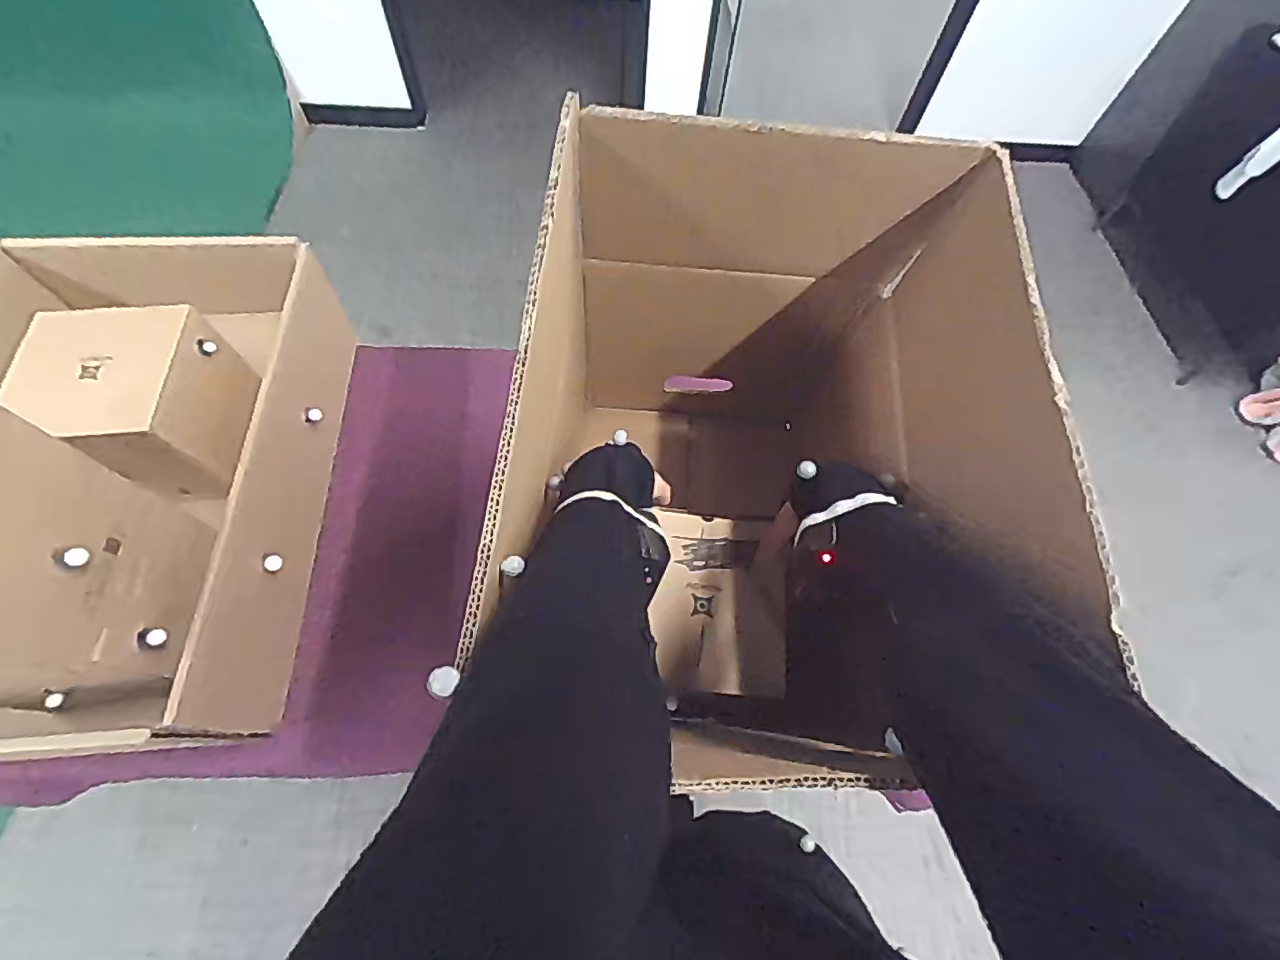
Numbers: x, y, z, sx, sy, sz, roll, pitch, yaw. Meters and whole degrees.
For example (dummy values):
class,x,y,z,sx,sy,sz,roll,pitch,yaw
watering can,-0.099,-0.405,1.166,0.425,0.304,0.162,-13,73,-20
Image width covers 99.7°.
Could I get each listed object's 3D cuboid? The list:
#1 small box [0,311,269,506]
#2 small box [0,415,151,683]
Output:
class,x,y,z,sx,sy,sz,roll,pitch,yaw
small box,-0.592,-0.076,0.657,0.168,0.176,0.179,-5,63,-5
small box,-0.540,0.058,0.403,0.179,0.176,0.168,-2,63,-4
